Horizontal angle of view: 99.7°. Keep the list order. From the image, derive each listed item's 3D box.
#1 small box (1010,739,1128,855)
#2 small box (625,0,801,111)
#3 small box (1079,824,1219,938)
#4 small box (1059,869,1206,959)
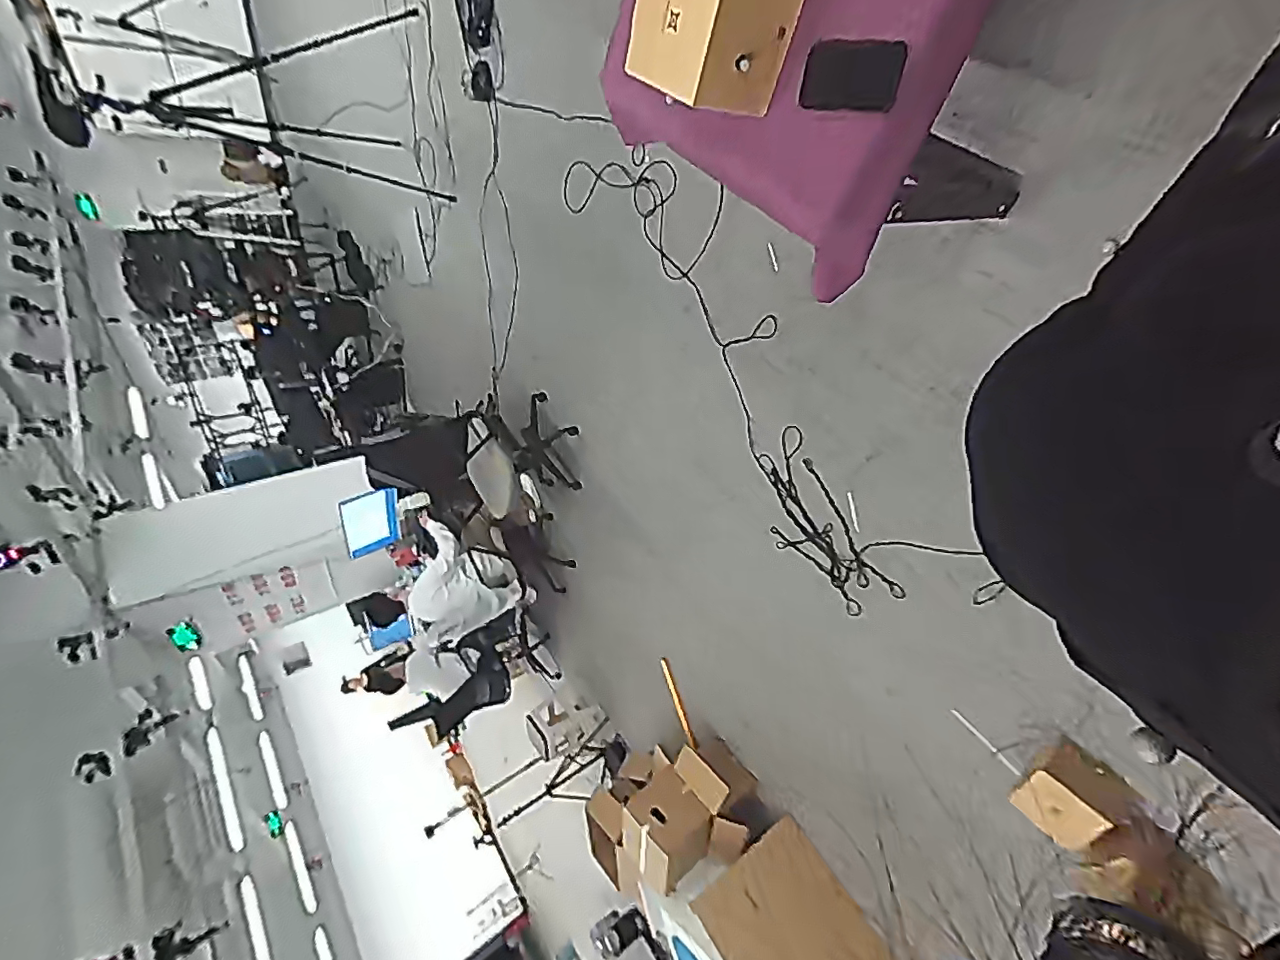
[{"bbox_3d":[1.138,0.833,1.432,0.168,0.176,0.179,40,136,35],"label":"small box"},{"bbox_3d":[0.106,-0.669,0.802,0.179,0.176,0.168,49,141,29],"label":"small box"},{"bbox_3d":[1.260,0.993,1.341,0.179,0.176,0.168,48,141,28],"label":"small box"},{"bbox_3d":[1.136,1.044,1.247,0.168,0.176,0.179,49,142,27],"label":"small box"}]
